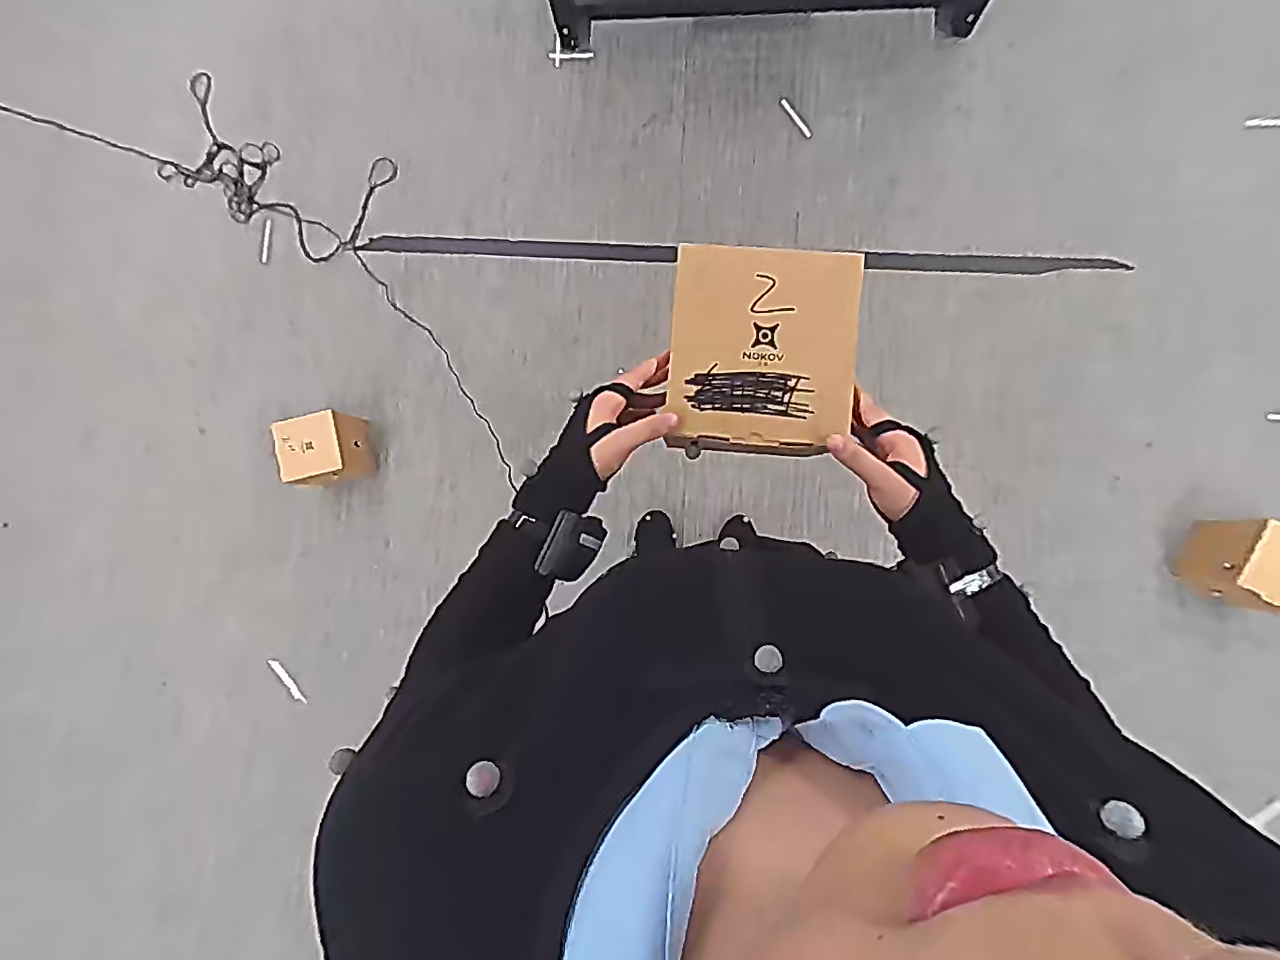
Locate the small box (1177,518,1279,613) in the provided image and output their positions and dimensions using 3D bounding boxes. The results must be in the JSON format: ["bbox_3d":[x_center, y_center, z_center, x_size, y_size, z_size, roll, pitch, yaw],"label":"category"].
[{"bbox_3d":[1.487,0.204,1.316,0.168,0.176,0.179,28,89,5],"label":"small box"}]

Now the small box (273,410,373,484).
[{"bbox_3d":[-0.875,-0.087,1.514,0.179,0.176,0.168,-13,86,4],"label":"small box"}]
